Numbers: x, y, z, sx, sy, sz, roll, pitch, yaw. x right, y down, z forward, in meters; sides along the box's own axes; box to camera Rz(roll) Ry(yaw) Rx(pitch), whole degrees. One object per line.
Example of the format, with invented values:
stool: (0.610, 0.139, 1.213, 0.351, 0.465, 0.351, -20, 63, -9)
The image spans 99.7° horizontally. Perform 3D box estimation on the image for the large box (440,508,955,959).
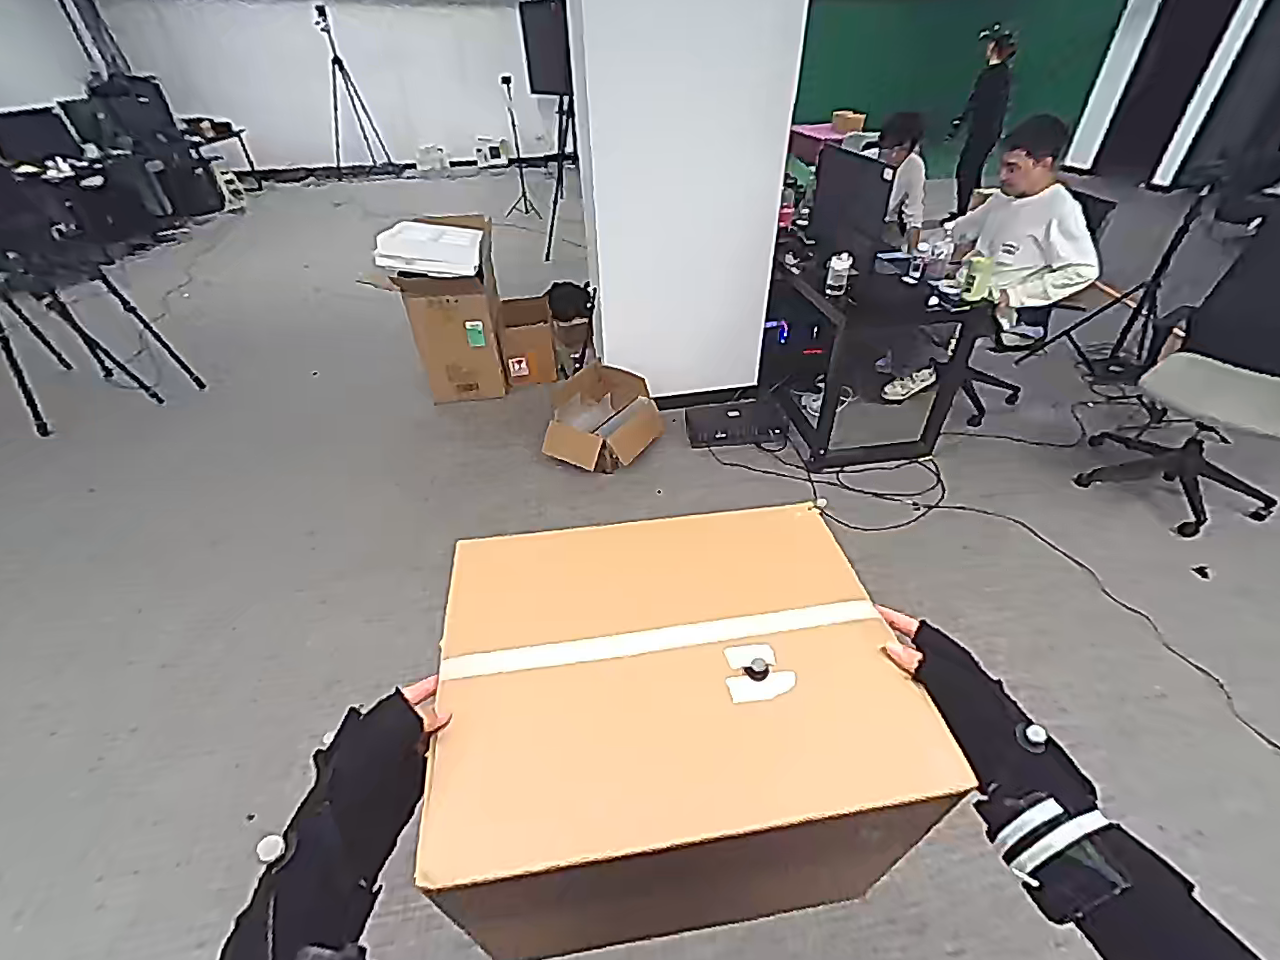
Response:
large box: (0.028, 0.266, 0.602, 0.408, 0.320, 0.320, -6, 41, -8)
